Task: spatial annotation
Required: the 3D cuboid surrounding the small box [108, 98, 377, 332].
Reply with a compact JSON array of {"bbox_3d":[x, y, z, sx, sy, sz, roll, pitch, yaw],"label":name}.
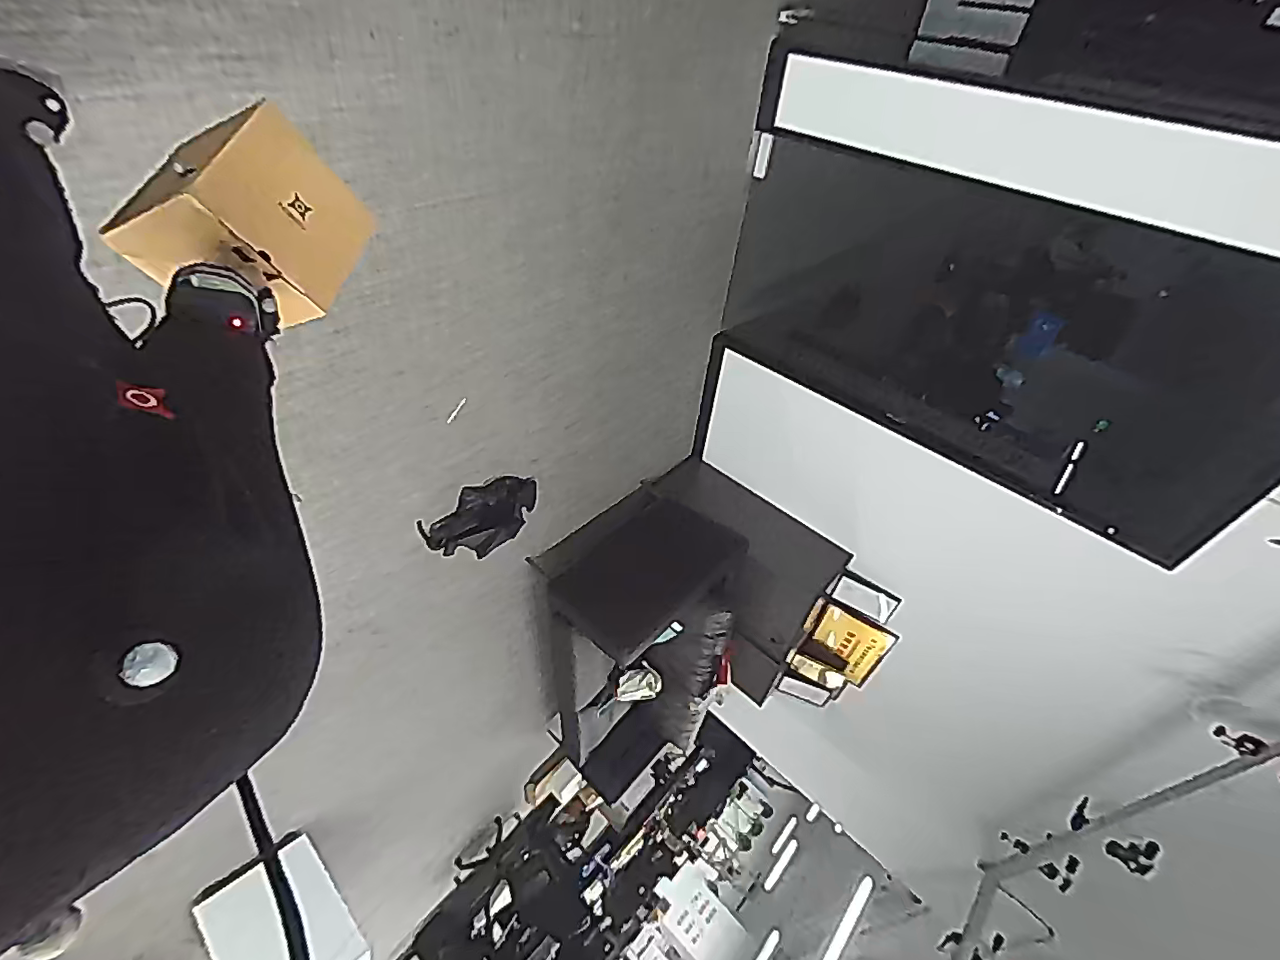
[{"bbox_3d":[-0.465,-0.305,0.647,0.168,0.176,0.179,53,40,-52],"label":"small box"}]
